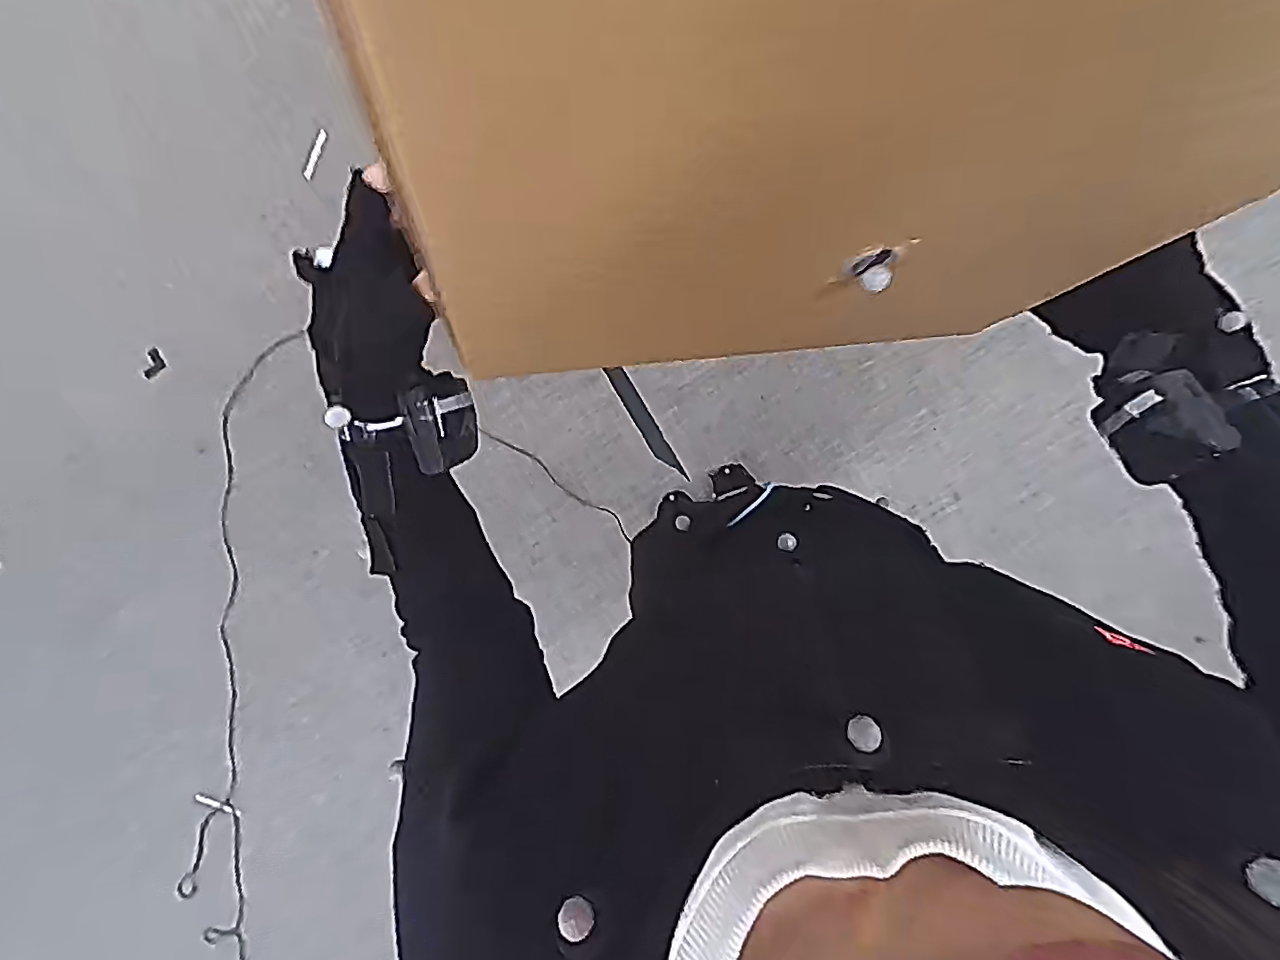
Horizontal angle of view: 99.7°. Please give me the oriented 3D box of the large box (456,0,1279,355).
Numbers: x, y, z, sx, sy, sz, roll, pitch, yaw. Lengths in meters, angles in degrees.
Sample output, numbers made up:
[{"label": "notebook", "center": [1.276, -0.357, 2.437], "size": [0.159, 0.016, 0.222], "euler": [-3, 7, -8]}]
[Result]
[{"label": "large box", "center": [0.108, -0.279, 0.295], "size": [0.408, 0.320, 0.320], "euler": [-8, 85, -13]}]
